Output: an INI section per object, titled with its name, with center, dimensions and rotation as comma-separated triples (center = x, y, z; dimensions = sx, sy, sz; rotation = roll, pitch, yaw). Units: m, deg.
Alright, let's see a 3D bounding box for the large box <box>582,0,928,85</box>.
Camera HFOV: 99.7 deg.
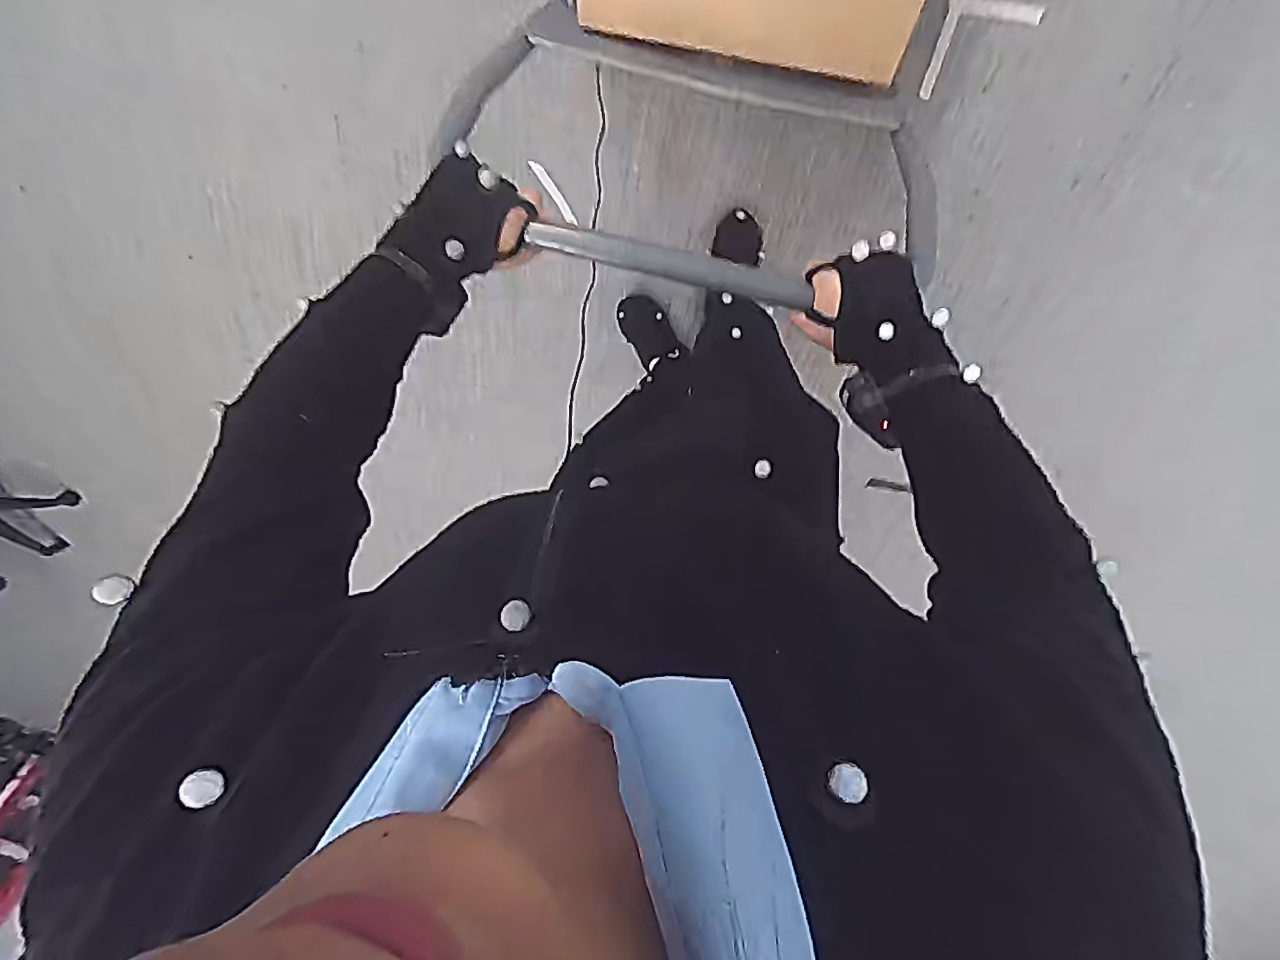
[large box]
center = 0.157, -0.728, 0.653
dimensions = 0.408, 0.320, 0.320
rotation = 11, 140, 0
